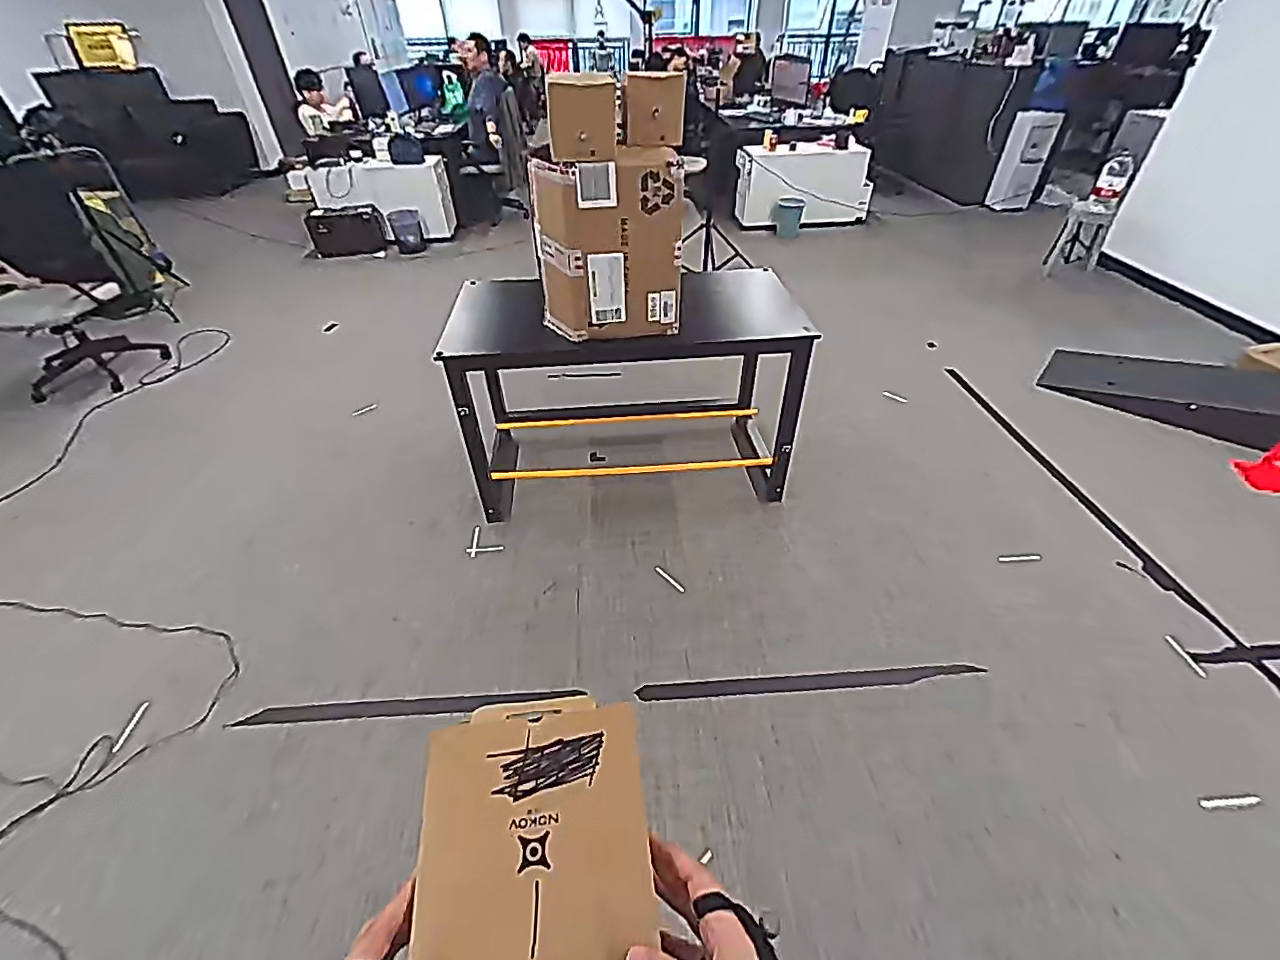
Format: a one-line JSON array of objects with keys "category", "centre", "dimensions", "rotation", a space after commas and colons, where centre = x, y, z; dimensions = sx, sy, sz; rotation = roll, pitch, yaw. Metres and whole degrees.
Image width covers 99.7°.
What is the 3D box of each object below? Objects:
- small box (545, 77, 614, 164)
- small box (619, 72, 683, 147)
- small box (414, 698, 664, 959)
[{"category": "small box", "centre": [-0.158, -0.937, 1.408], "dimensions": [0.168, 0.176, 0.179], "rotation": [-5, 42, -7]}, {"category": "small box", "centre": [0.029, -1.088, 1.589], "dimensions": [0.168, 0.176, 0.179], "rotation": [-4, 41, -7]}, {"category": "small box", "centre": [-0.077, 0.309, 0.461], "dimensions": [0.168, 0.176, 0.179], "rotation": [-5, 52, -6]}]
